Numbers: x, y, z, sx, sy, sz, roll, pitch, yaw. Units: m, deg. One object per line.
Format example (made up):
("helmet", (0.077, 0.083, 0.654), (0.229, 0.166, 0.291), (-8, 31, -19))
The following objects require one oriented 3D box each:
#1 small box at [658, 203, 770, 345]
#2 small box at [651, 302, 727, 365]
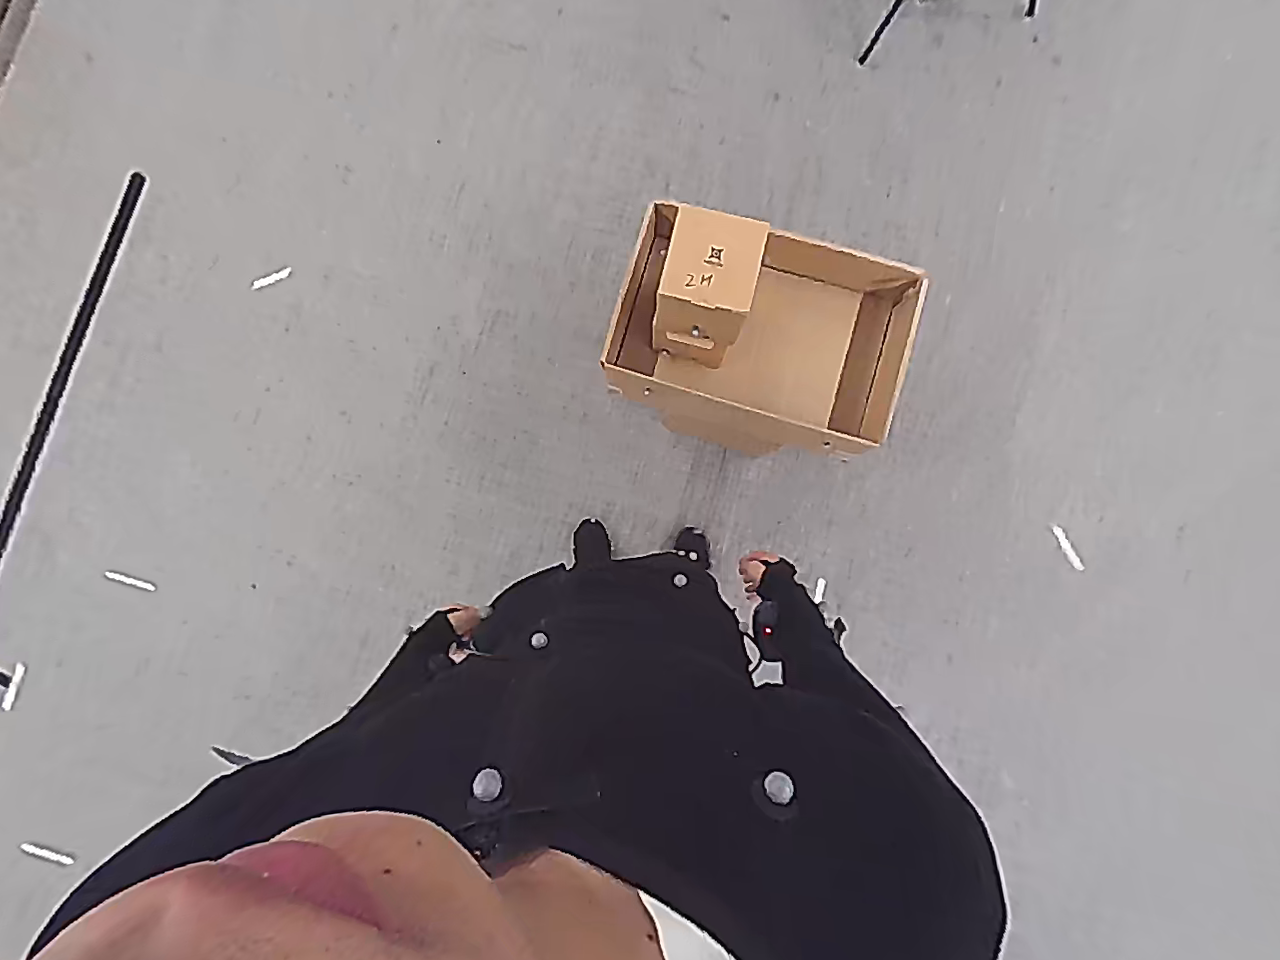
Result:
("small box", (0.131, -0.381, 1.025), (0.168, 0.176, 0.179), (14, 86, 2))
("small box", (0.127, -0.373, 1.189), (0.168, 0.176, 0.179), (16, 85, 2))
